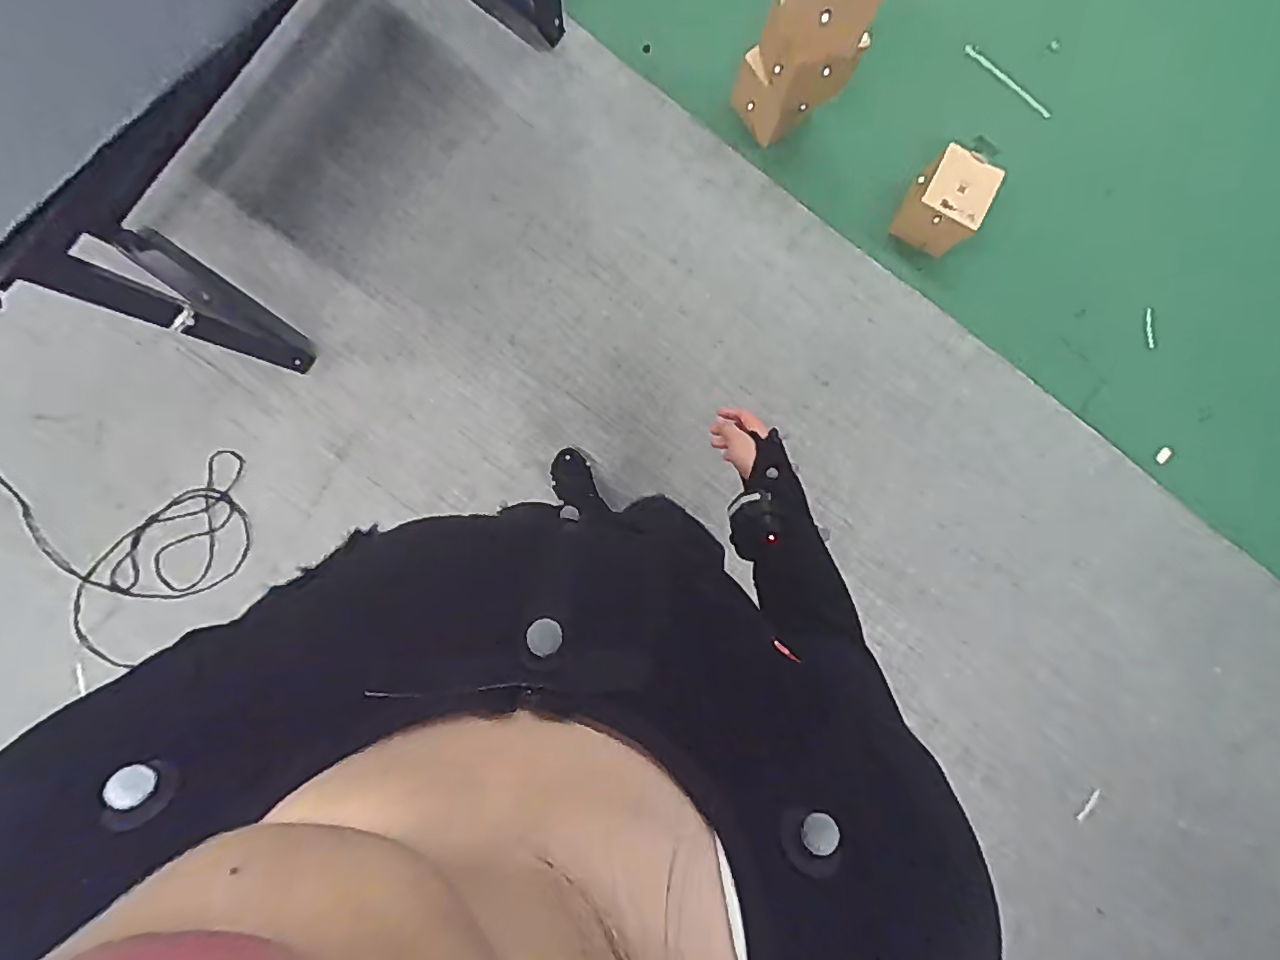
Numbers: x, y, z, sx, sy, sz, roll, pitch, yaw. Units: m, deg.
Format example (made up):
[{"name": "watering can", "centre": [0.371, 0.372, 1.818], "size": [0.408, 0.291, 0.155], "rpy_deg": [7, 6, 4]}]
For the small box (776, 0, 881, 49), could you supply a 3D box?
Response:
[{"name": "small box", "centre": [0.398, -1.025, 1.092], "size": [0.179, 0.176, 0.168], "rpy_deg": [13, 91, -3]}]

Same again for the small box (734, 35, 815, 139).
[{"name": "small box", "centre": [0.364, -1.047, 1.417], "size": [0.179, 0.176, 0.168], "rpy_deg": [-37, 93, -2]}]

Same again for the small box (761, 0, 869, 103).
[{"name": "small box", "centre": [0.395, -1.022, 1.257], "size": [0.179, 0.176, 0.168], "rpy_deg": [-17, 93, -4]}]

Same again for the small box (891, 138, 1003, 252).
[{"name": "small box", "centre": [0.811, -0.753, 1.447], "size": [0.168, 0.176, 0.179], "rpy_deg": [27, 88, -4]}]
